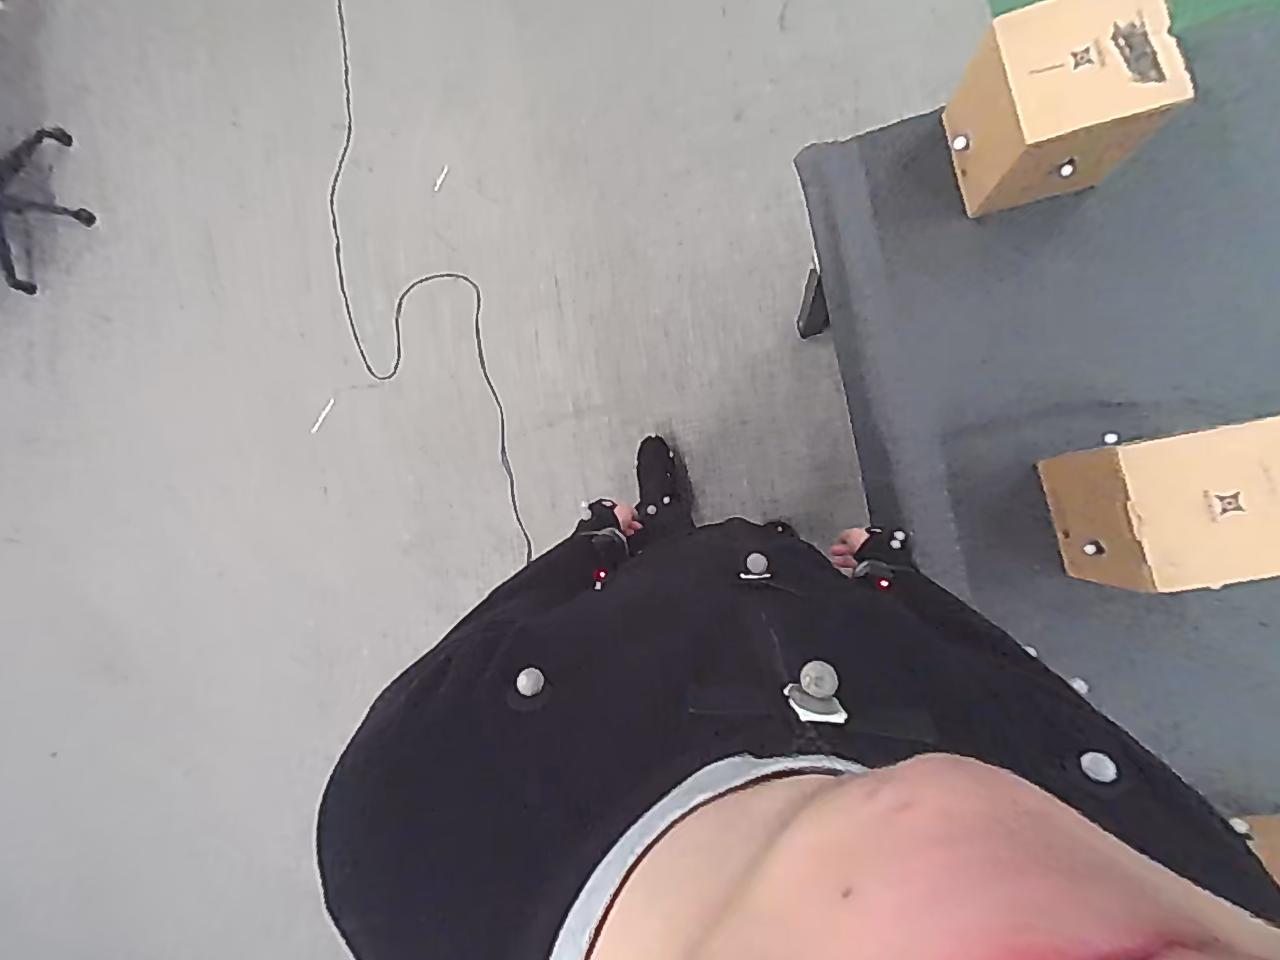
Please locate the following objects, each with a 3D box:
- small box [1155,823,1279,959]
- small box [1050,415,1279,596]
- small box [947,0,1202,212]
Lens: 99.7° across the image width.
[{"bbox_3d":[0.724,0.506,0.594,0.179,0.176,0.168,-10,85,11],"label":"small box"},{"bbox_3d":[0.629,0.031,0.640,0.179,0.176,0.168,-13,86,9],"label":"small box"},{"bbox_3d":[0.525,-0.475,0.682,0.179,0.176,0.168,-12,85,10],"label":"small box"}]
